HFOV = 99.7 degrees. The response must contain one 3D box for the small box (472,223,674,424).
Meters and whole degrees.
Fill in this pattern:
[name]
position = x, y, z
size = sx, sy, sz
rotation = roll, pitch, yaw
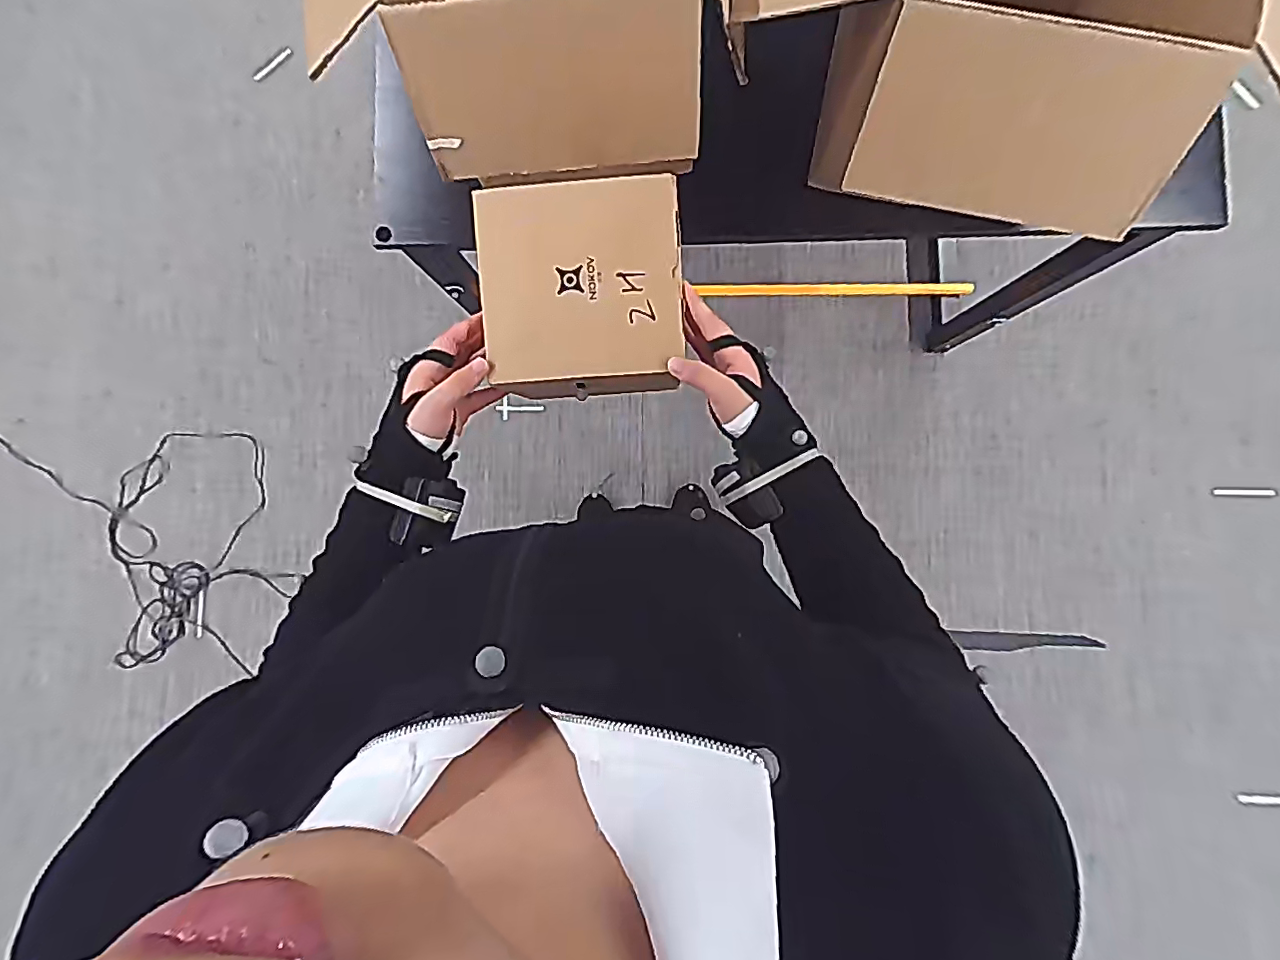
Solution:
[small box]
position = -0.056, -0.145, 0.557
size = 0.179, 0.176, 0.168
rotation = -3, 95, 2
